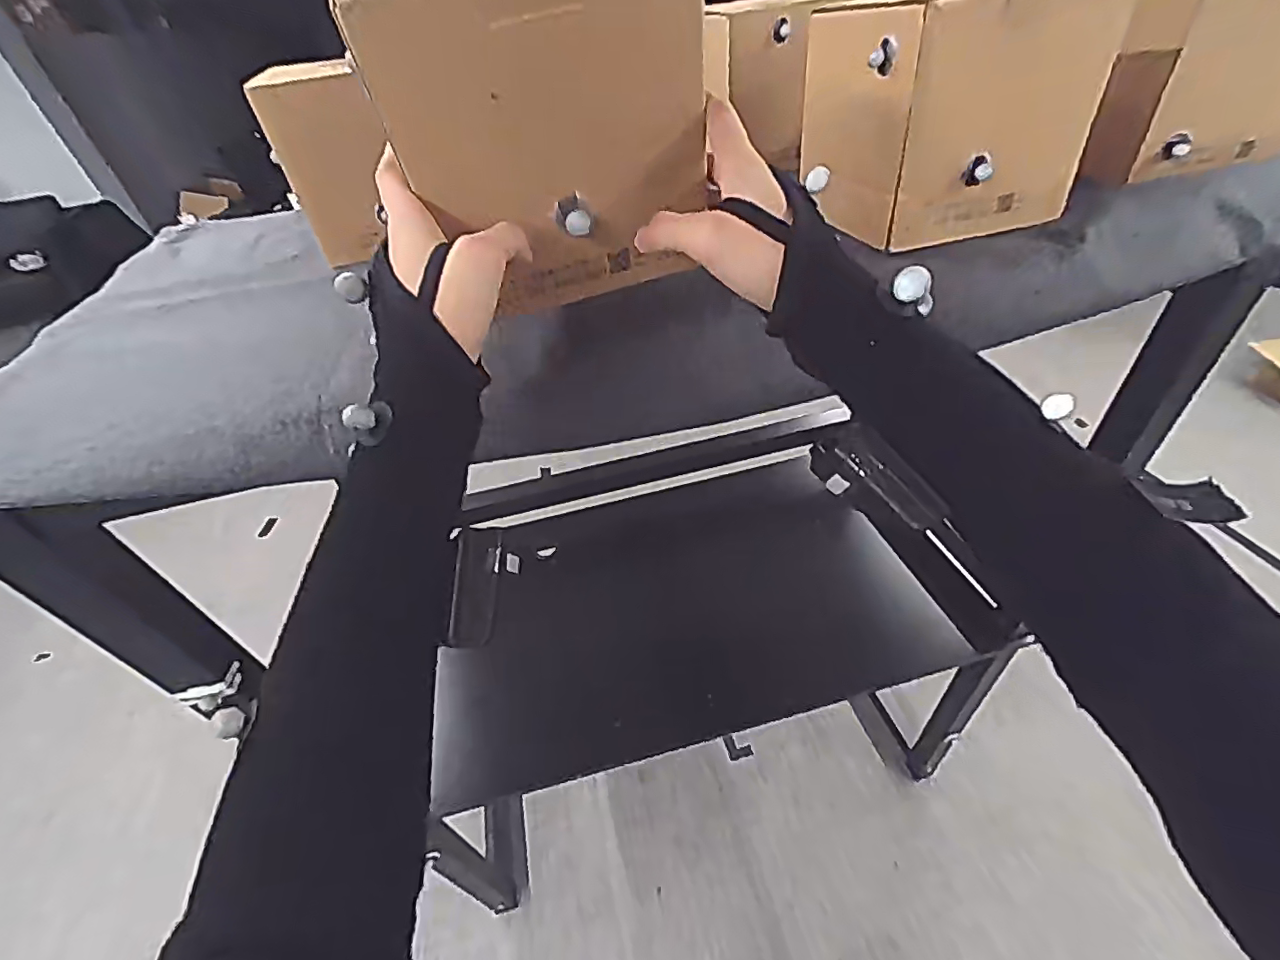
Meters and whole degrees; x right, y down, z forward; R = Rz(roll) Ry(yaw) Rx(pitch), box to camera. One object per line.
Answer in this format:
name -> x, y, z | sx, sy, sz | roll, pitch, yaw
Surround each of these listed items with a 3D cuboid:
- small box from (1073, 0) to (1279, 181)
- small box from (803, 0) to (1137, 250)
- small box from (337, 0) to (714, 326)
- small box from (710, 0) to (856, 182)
small box -> 0.519, -0.402, 0.521 | 0.168, 0.176, 0.179 | -8, 40, 1
small box -> 0.259, -0.320, 0.477 | 0.168, 0.176, 0.179 | -14, 41, -6
small box -> -0.062, -0.228, 0.339 | 0.168, 0.176, 0.179 | -18, 53, -6
small box -> 0.140, -0.496, 0.689 | 0.168, 0.176, 0.179 | -21, 43, -13
